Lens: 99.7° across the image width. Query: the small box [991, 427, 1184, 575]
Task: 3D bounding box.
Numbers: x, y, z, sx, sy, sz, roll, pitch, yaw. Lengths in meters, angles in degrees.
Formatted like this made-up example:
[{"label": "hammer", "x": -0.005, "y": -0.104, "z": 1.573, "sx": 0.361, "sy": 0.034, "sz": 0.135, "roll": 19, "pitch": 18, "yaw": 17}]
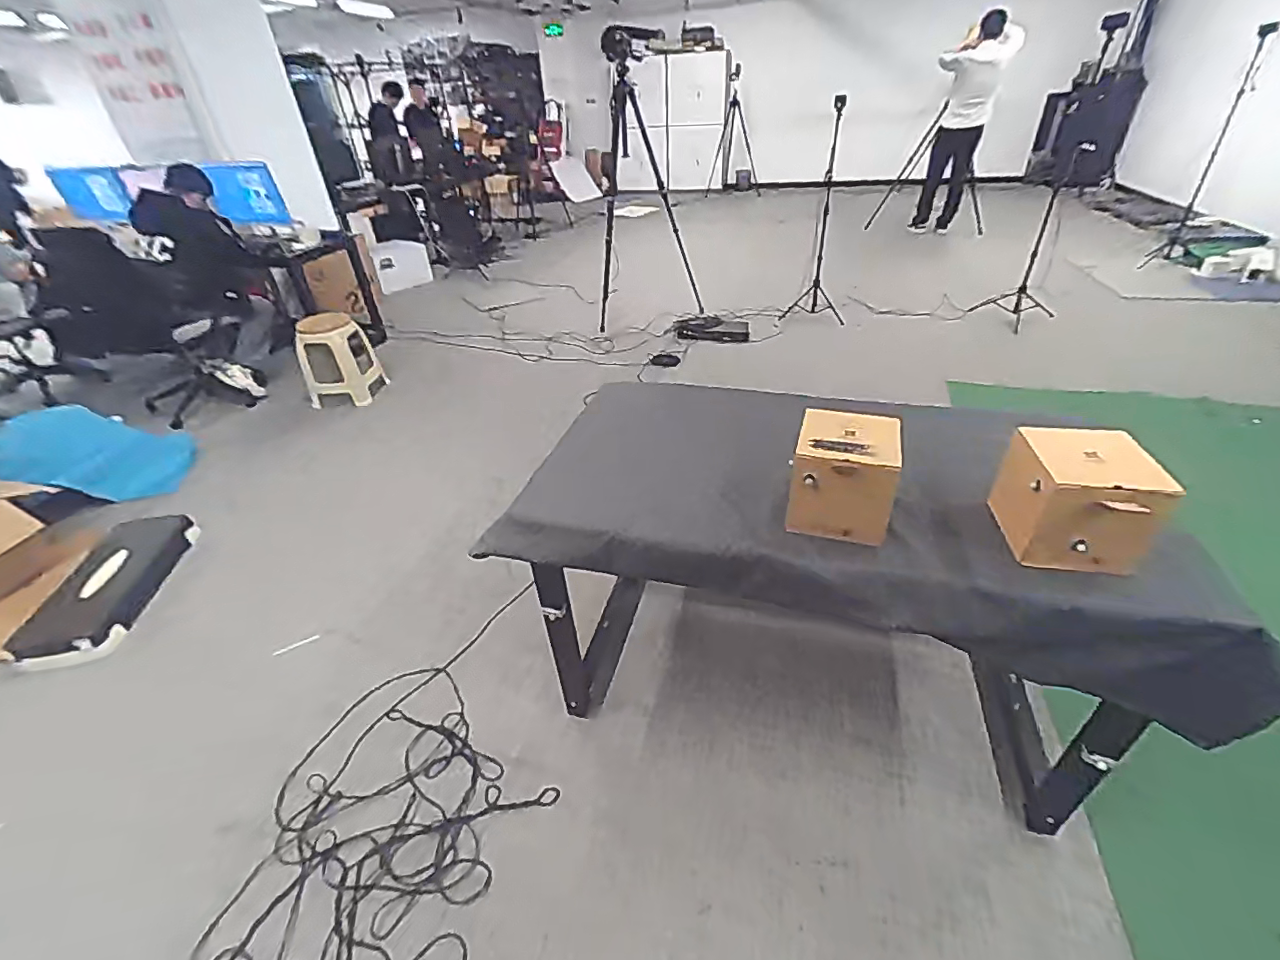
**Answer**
[{"label": "small box", "x": 0.716, "y": 0.031, "z": 0.895, "sx": 0.168, "sy": 0.176, "sz": 0.179, "roll": 4, "pitch": 36, "yaw": 11}]
